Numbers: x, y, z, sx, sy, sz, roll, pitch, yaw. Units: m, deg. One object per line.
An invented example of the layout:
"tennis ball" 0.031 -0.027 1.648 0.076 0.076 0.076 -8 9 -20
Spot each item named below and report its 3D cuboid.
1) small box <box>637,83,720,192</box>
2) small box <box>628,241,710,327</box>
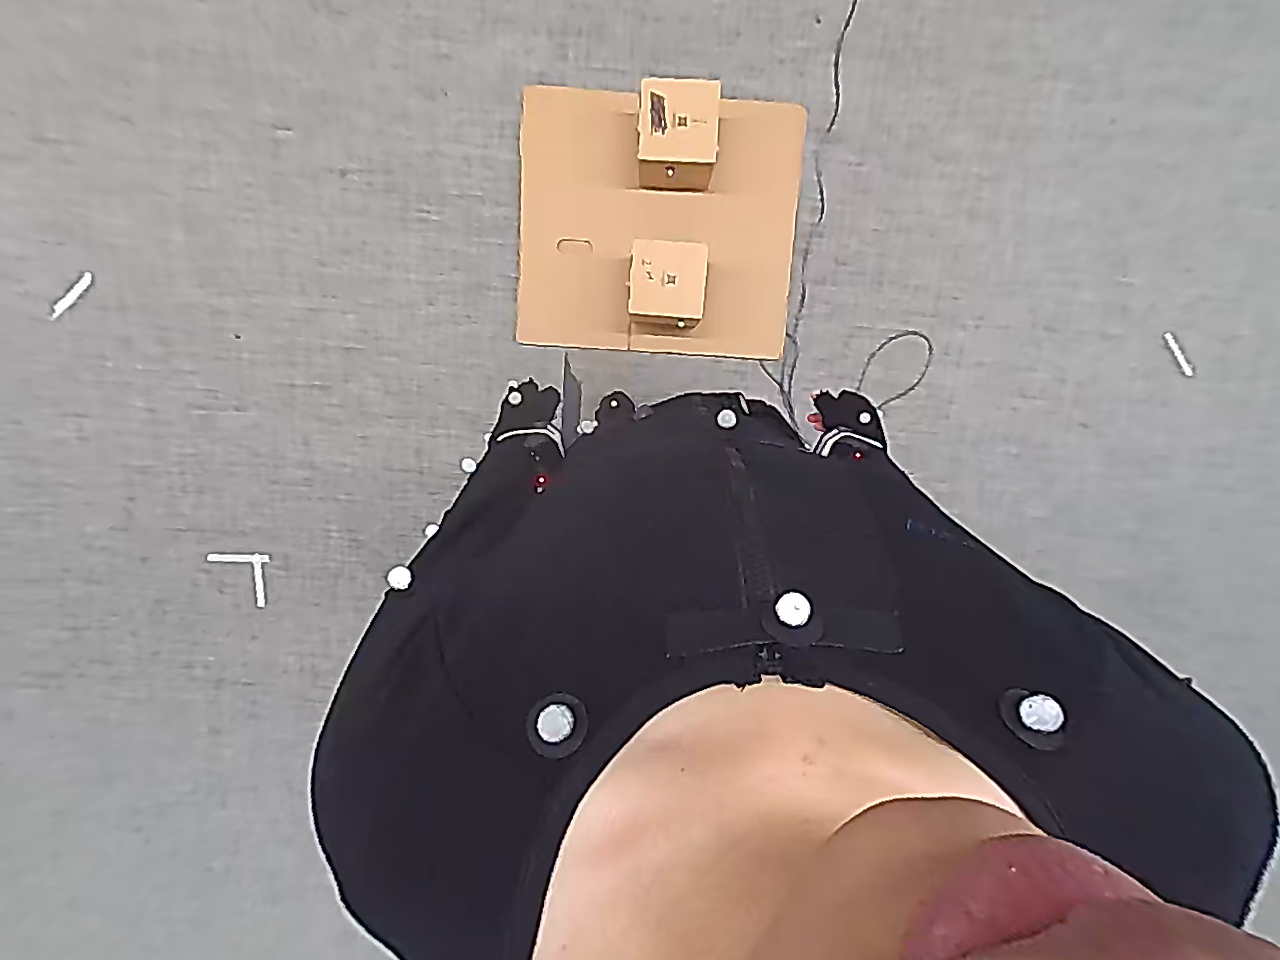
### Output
"small box" 0.085 -0.793 1.267 0.179 0.176 0.168 2 100 0
"small box" 0.068 -0.471 1.320 0.179 0.176 0.168 5 99 1
